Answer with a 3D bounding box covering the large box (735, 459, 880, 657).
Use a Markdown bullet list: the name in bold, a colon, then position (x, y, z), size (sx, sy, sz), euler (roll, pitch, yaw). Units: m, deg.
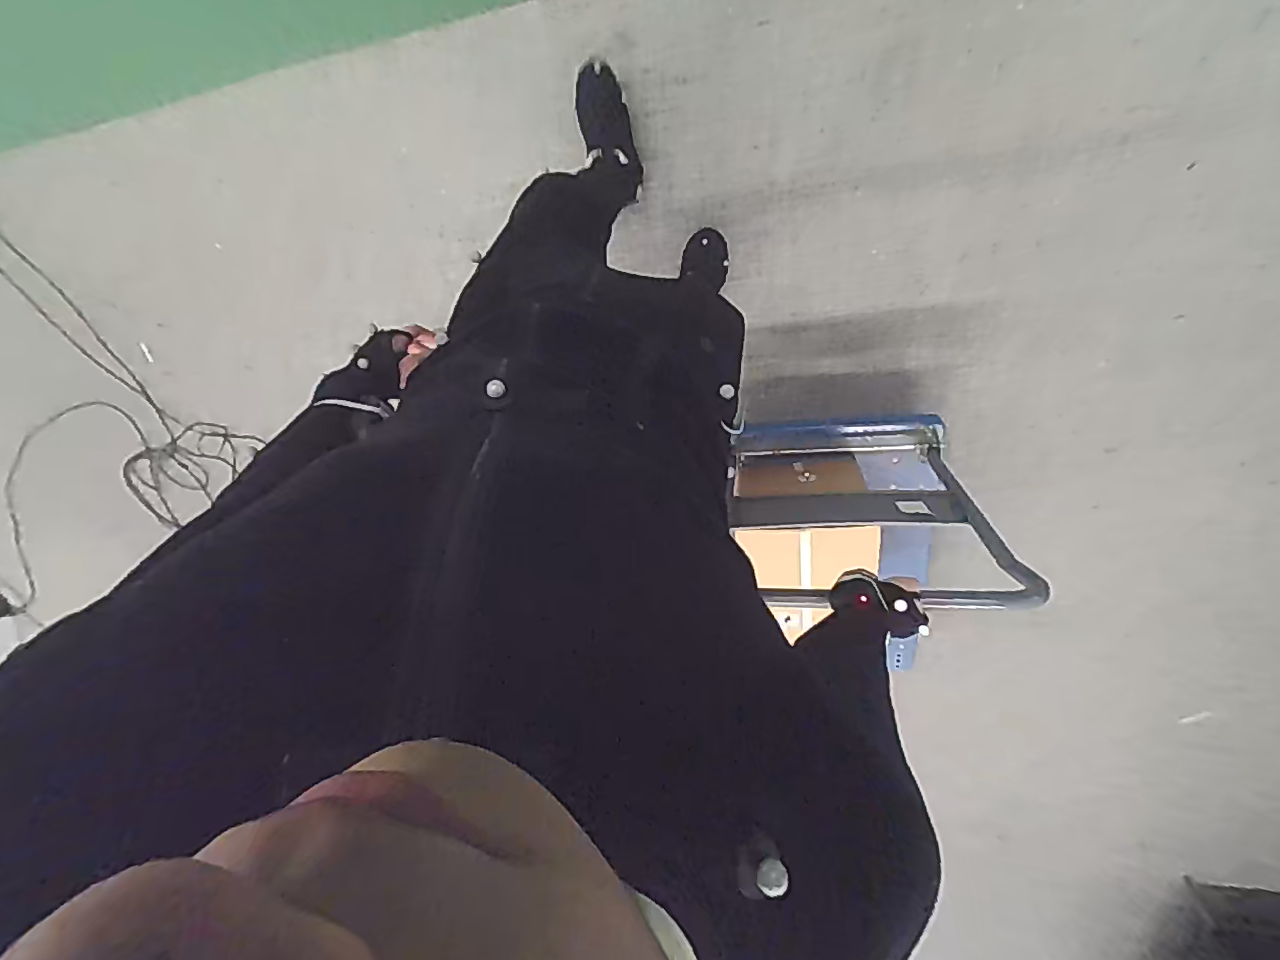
- **large box**: position (0.419, 0.197, 1.405), size (0.320, 0.320, 0.408), euler (-3, 119, 13)
